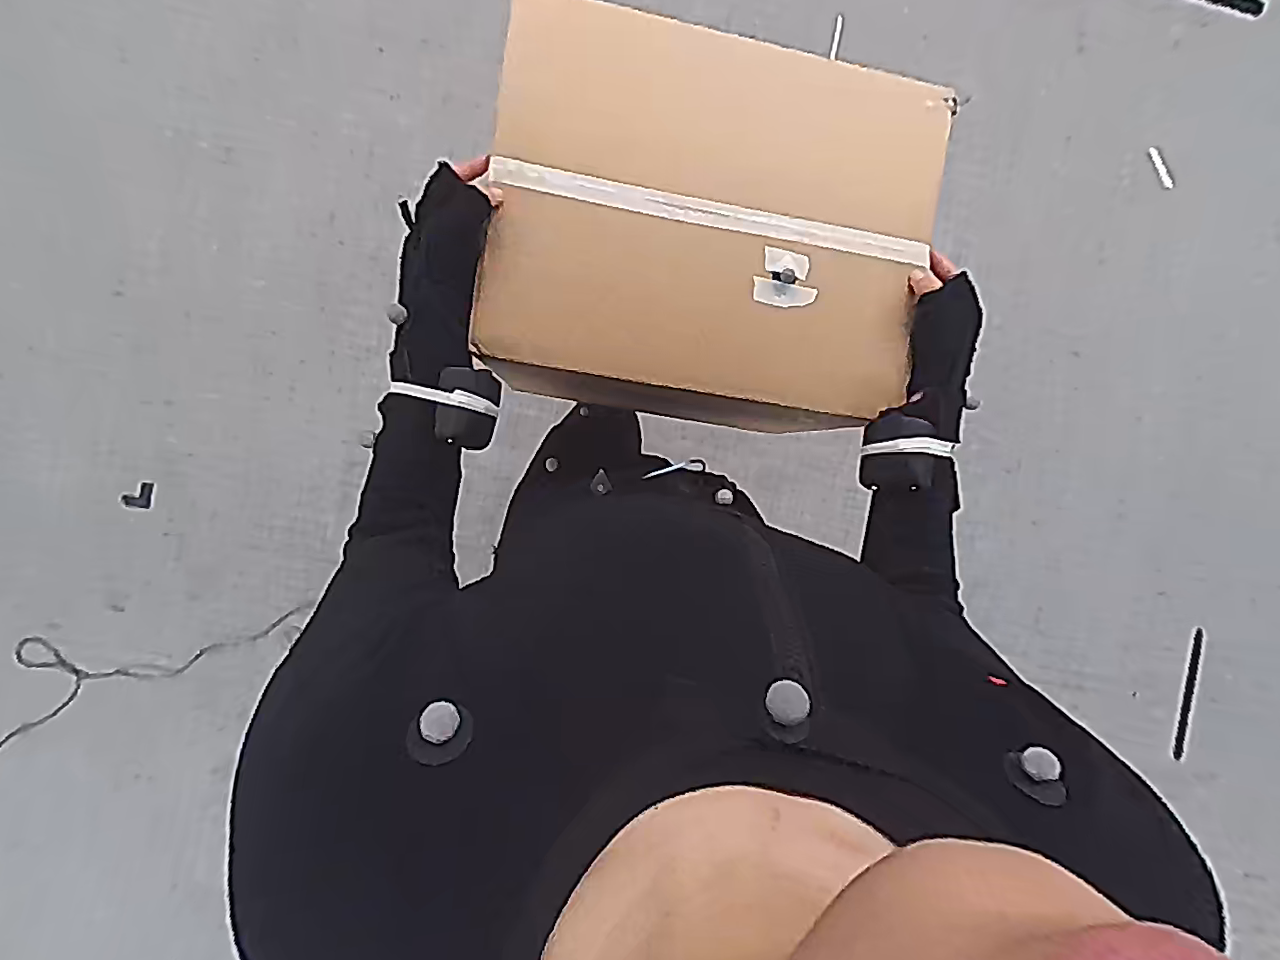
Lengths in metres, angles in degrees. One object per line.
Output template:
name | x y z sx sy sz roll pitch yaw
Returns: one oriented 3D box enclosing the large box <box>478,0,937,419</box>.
large box | 0.049 -0.256 0.641 0.408 0.320 0.320 8 94 -8
